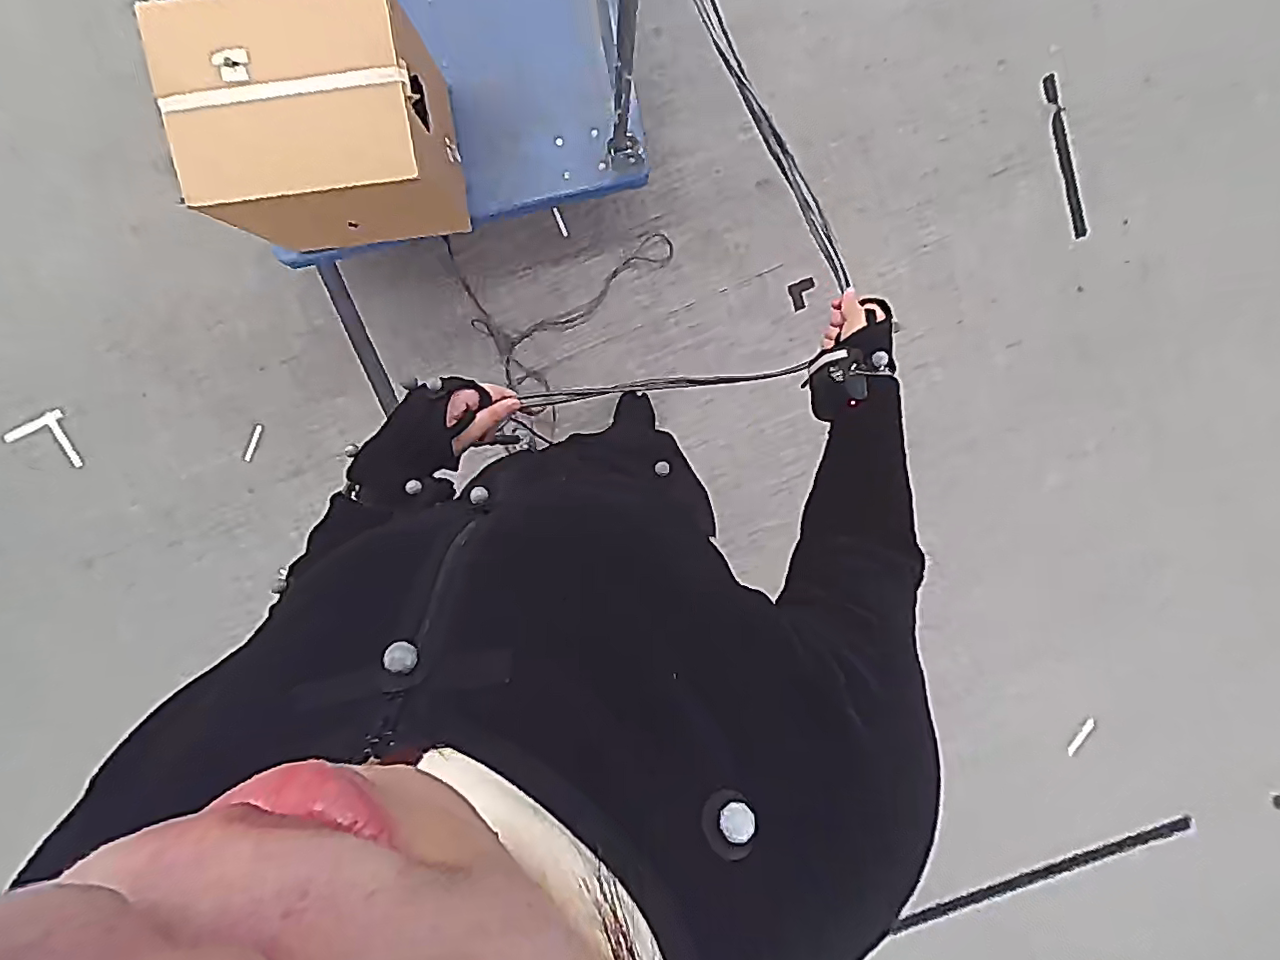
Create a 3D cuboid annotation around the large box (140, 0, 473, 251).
[{"bbox_3d":[-0.583,-0.655,1.031,0.408,0.320,0.320,-7,99,1],"label":"large box"}]
